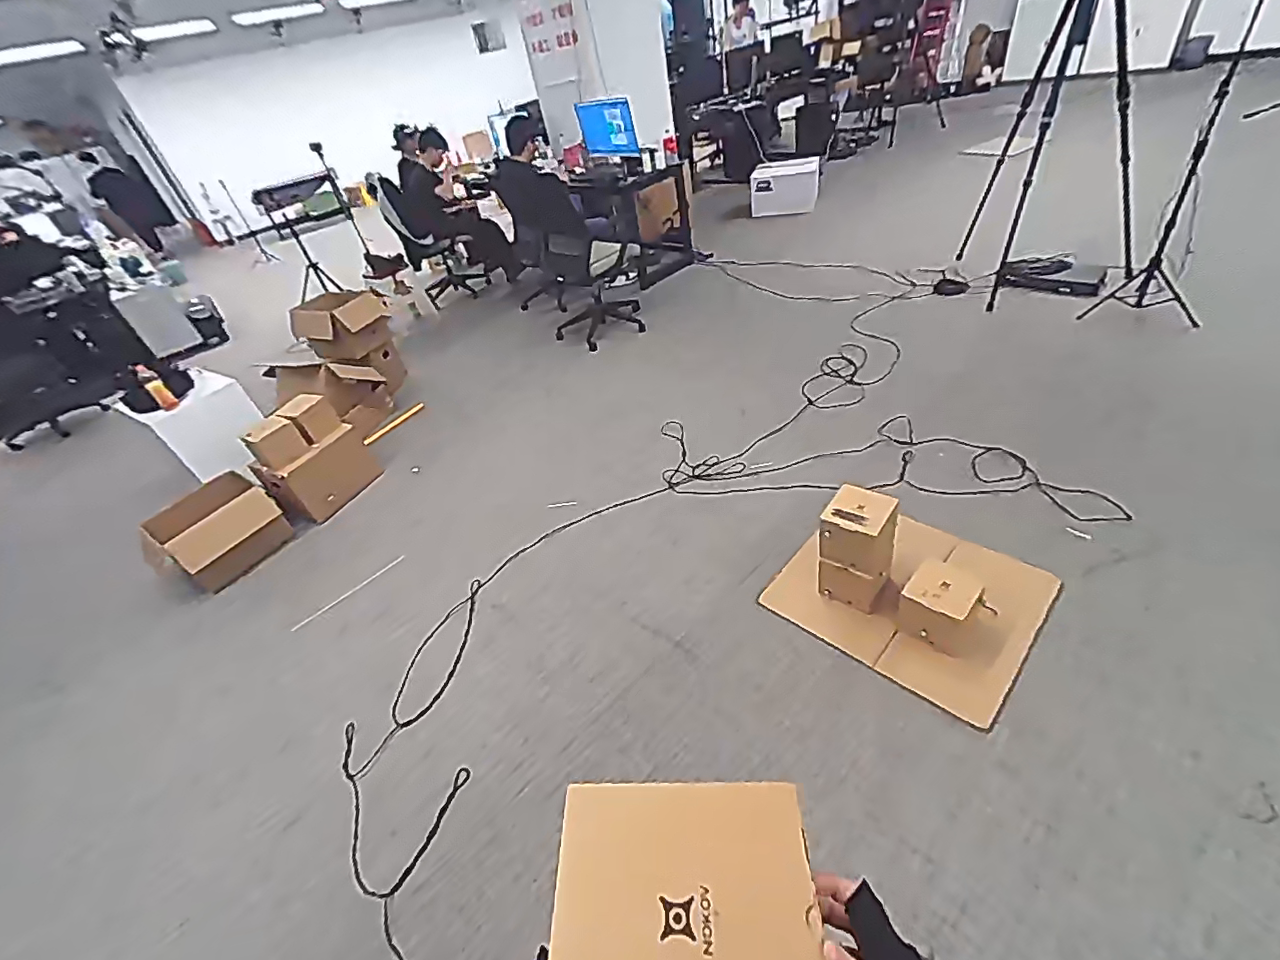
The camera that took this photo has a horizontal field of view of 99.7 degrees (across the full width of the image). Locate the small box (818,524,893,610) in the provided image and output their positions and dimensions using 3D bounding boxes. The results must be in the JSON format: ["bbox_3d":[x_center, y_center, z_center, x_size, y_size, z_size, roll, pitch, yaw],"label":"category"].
[{"bbox_3d":[0.677,0.277,1.704,0.168,0.176,0.179,21,50,37],"label":"small box"}]

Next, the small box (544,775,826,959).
[{"bbox_3d":[0.034,0.340,0.401,0.179,0.176,0.168,-3,40,4],"label":"small box"}]

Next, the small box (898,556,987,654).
[{"bbox_3d":[0.860,0.357,1.552,0.168,0.176,0.179,25,53,40],"label":"small box"}]
